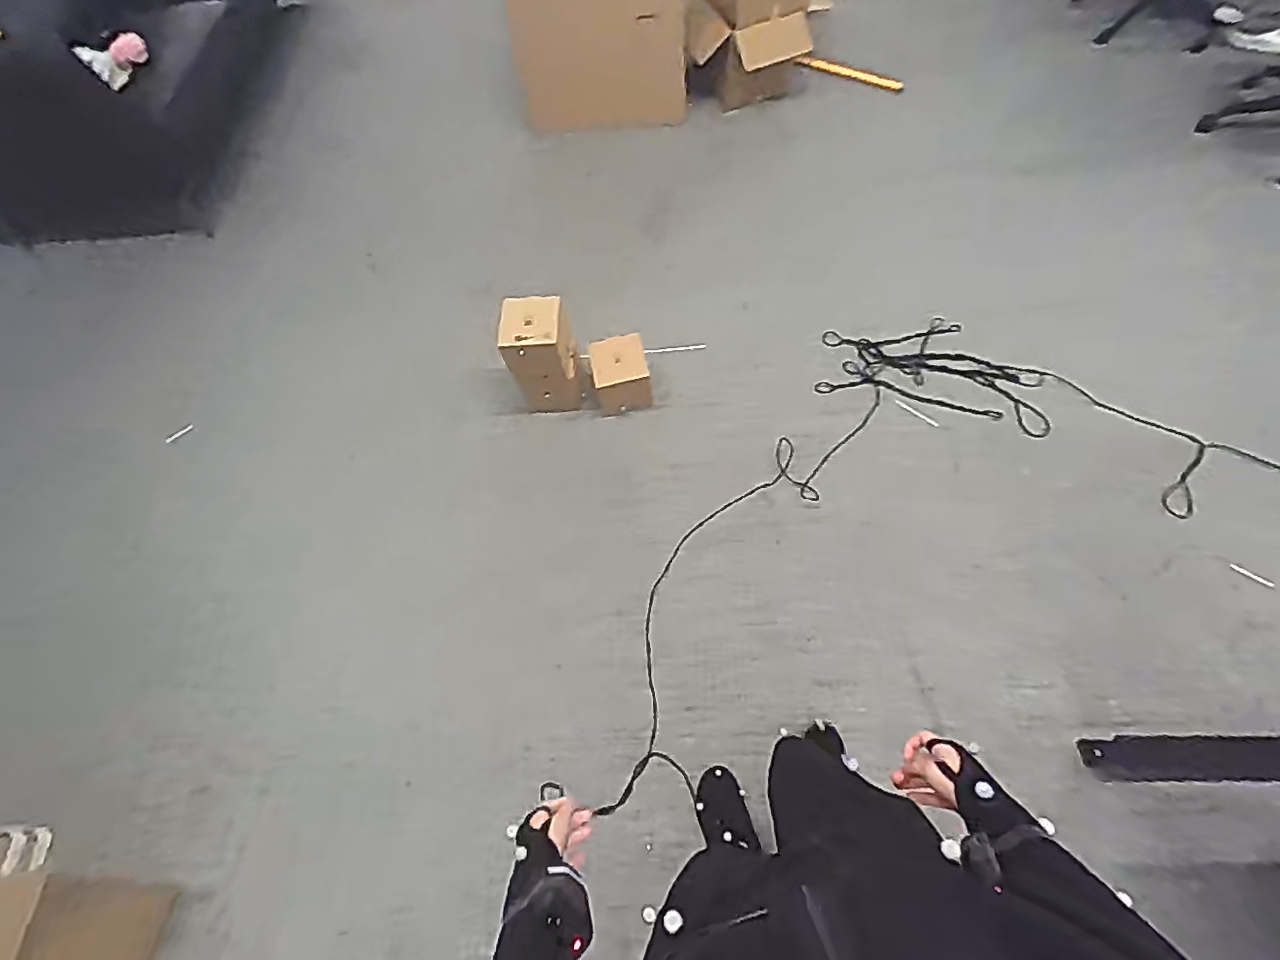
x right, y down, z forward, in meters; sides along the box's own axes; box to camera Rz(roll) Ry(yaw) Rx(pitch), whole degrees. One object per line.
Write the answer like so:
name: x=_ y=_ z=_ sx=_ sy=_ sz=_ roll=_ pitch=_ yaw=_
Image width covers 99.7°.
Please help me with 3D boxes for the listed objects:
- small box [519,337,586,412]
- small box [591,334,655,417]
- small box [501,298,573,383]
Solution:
small box: x=-0.272 y=-0.331 z=1.721 sx=0.179 sy=0.176 sz=0.168 roll=-4 pitch=63 yaw=4
small box: x=-0.053 y=-0.324 z=1.699 sx=0.168 sy=0.176 sz=0.179 roll=-12 pitch=63 yaw=0
small box: x=-0.292 y=-0.403 z=1.576 sx=0.168 sy=0.176 sz=0.179 roll=-2 pitch=62 yaw=5
